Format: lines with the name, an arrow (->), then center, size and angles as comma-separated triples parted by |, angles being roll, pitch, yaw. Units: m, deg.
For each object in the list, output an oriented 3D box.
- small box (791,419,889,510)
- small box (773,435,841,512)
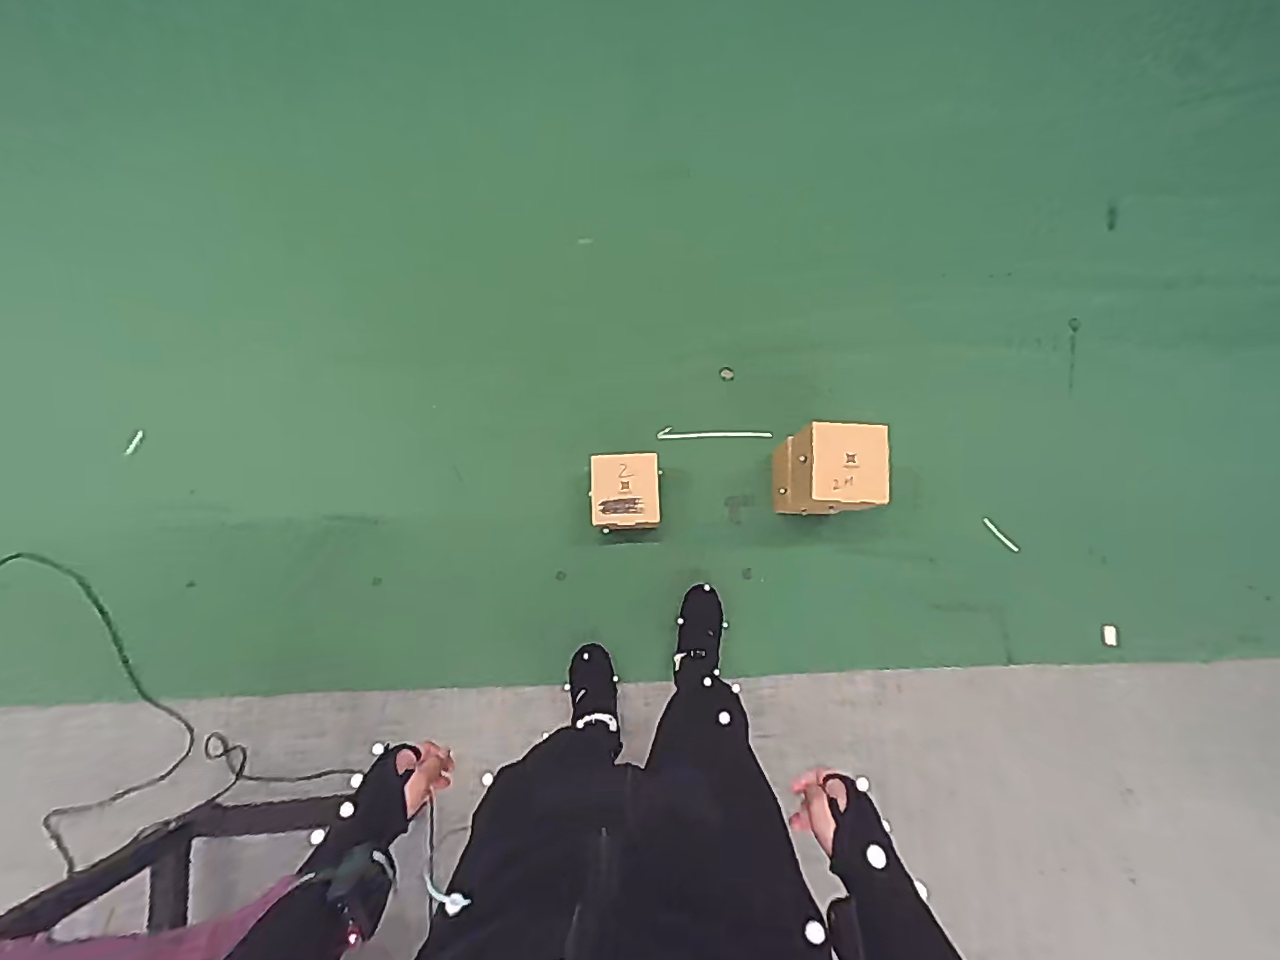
small box -> 0.452, -0.030, 1.239 | 0.168, 0.176, 0.179 | 3, 83, 0
small box -> 0.447, -0.013, 1.403 | 0.168, 0.176, 0.179 | 2, 83, 0
